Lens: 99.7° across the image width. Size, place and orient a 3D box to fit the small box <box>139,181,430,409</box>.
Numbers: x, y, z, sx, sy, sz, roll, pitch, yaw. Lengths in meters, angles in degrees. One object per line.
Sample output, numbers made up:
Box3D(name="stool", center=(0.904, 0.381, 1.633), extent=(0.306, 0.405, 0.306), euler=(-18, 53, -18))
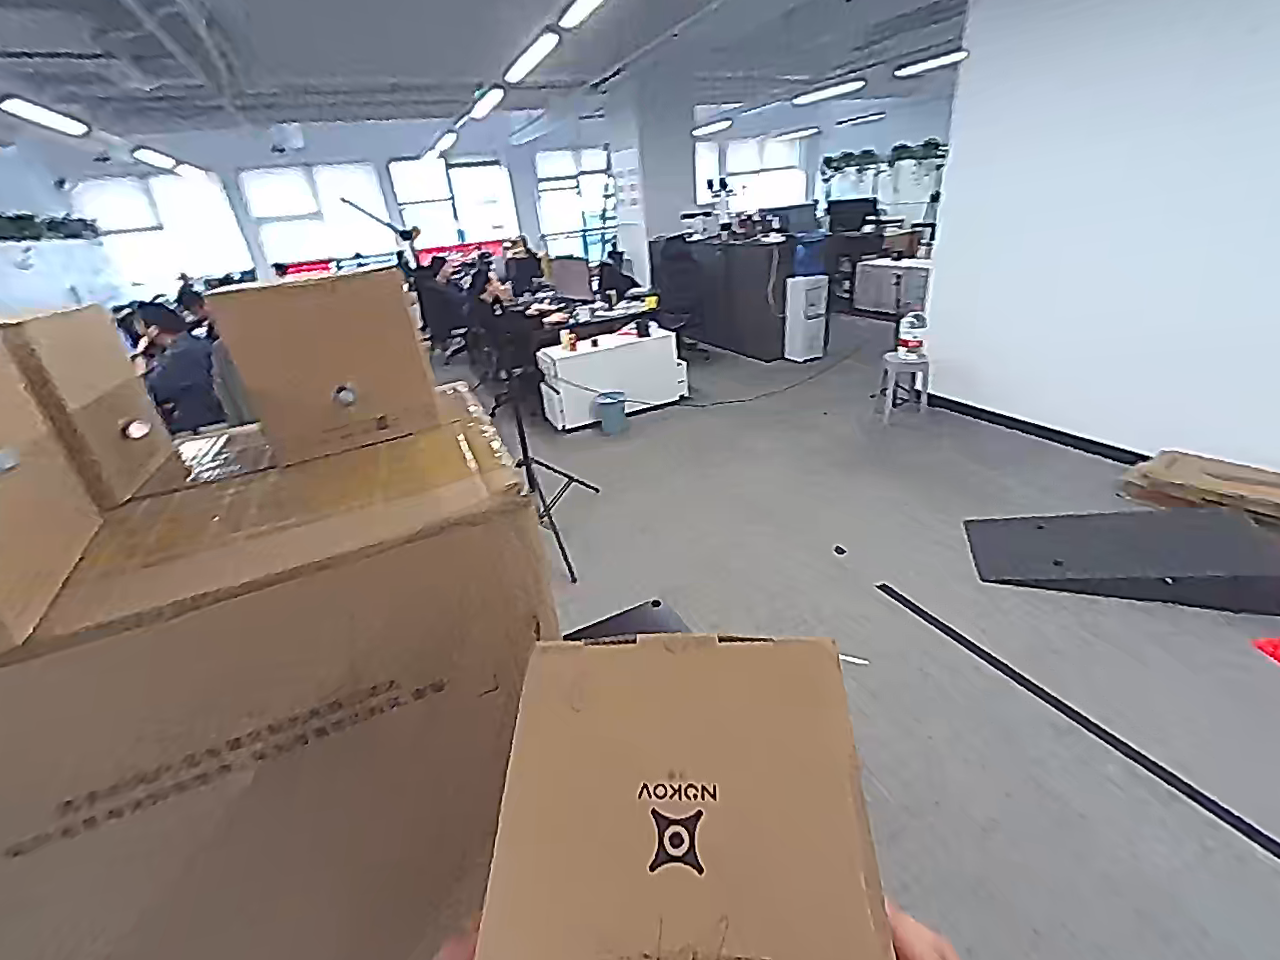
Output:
Box3D(name="small box", center=(-0.317, -0.177, 0.521), extent=(0.168, 0.176, 0.179), euler=(-19, 28, -21))

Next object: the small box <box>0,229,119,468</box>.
Box3D(name="small box", center=(-0.568, -0.093, 0.411), extent=(0.179, 0.176, 0.168), euler=(-15, 28, -21))
